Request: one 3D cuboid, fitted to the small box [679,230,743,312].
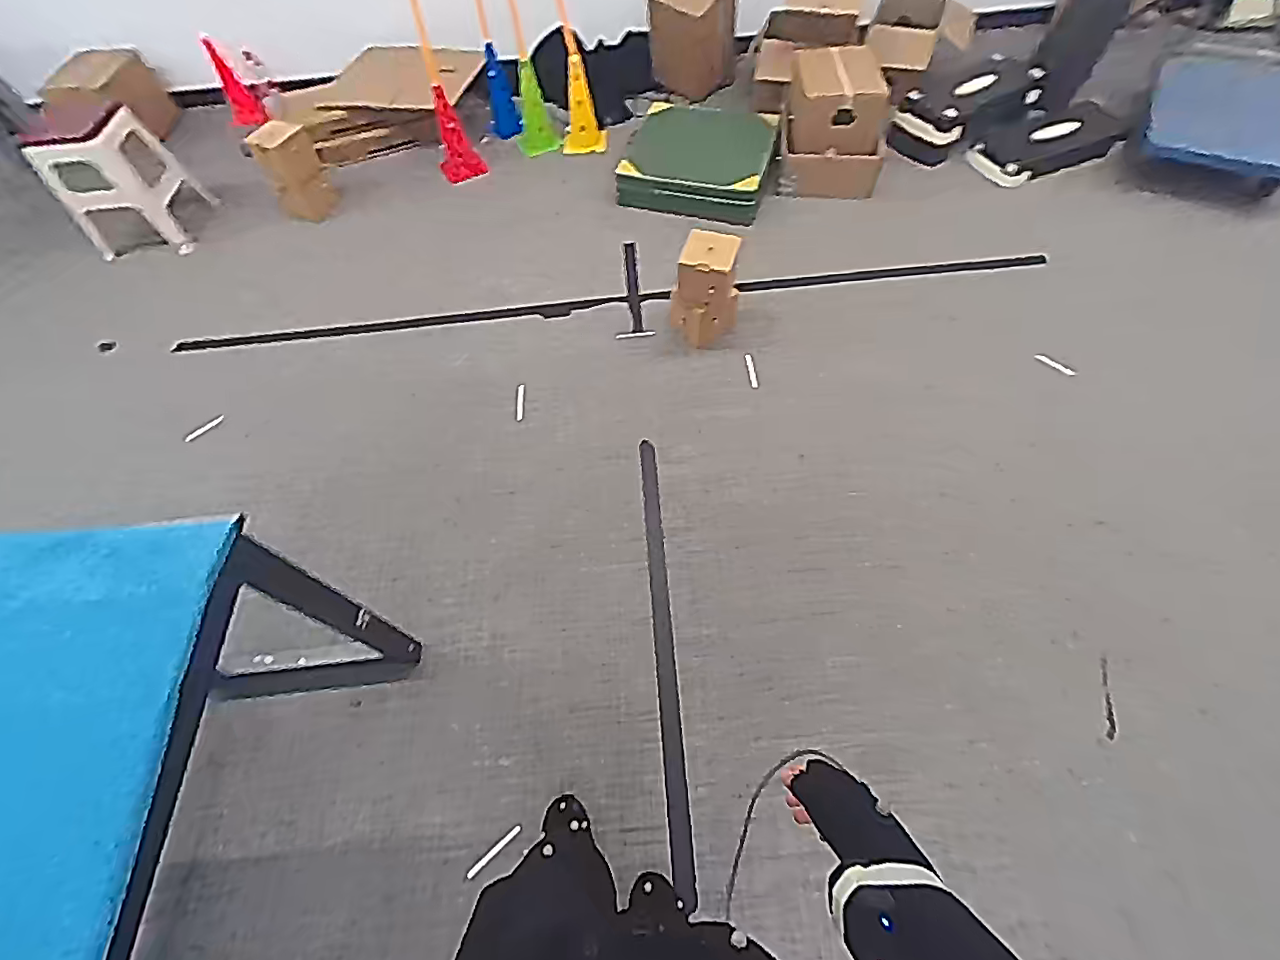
[{"bbox_3d":[0.228,-0.680,1.769,0.168,0.176,0.179,16,61,10],"label":"small box"}]

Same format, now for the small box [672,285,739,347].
[{"bbox_3d":[0.230,-0.606,1.918,0.179,0.176,0.168,-34,63,-17],"label":"small box"}]
